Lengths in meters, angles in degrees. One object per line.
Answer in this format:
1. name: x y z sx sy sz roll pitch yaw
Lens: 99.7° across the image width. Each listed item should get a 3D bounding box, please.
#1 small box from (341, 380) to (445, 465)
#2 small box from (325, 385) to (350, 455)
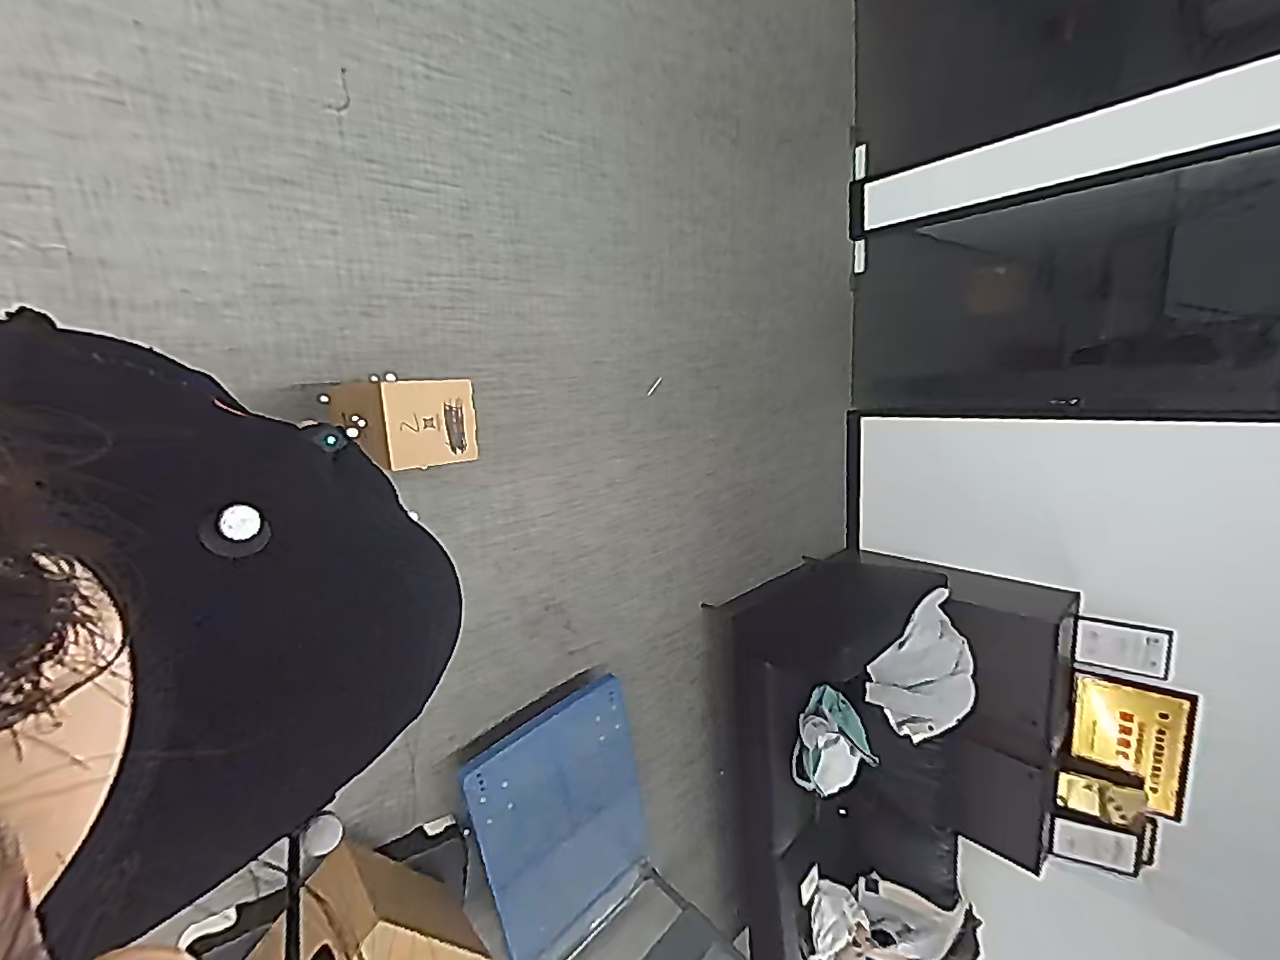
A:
1. small box: -0.563 -0.133 1.226 0.168 0.176 0.179 -11 104 -40
2. small box: -0.669 -0.155 1.351 0.179 0.176 0.168 -12 104 -42
